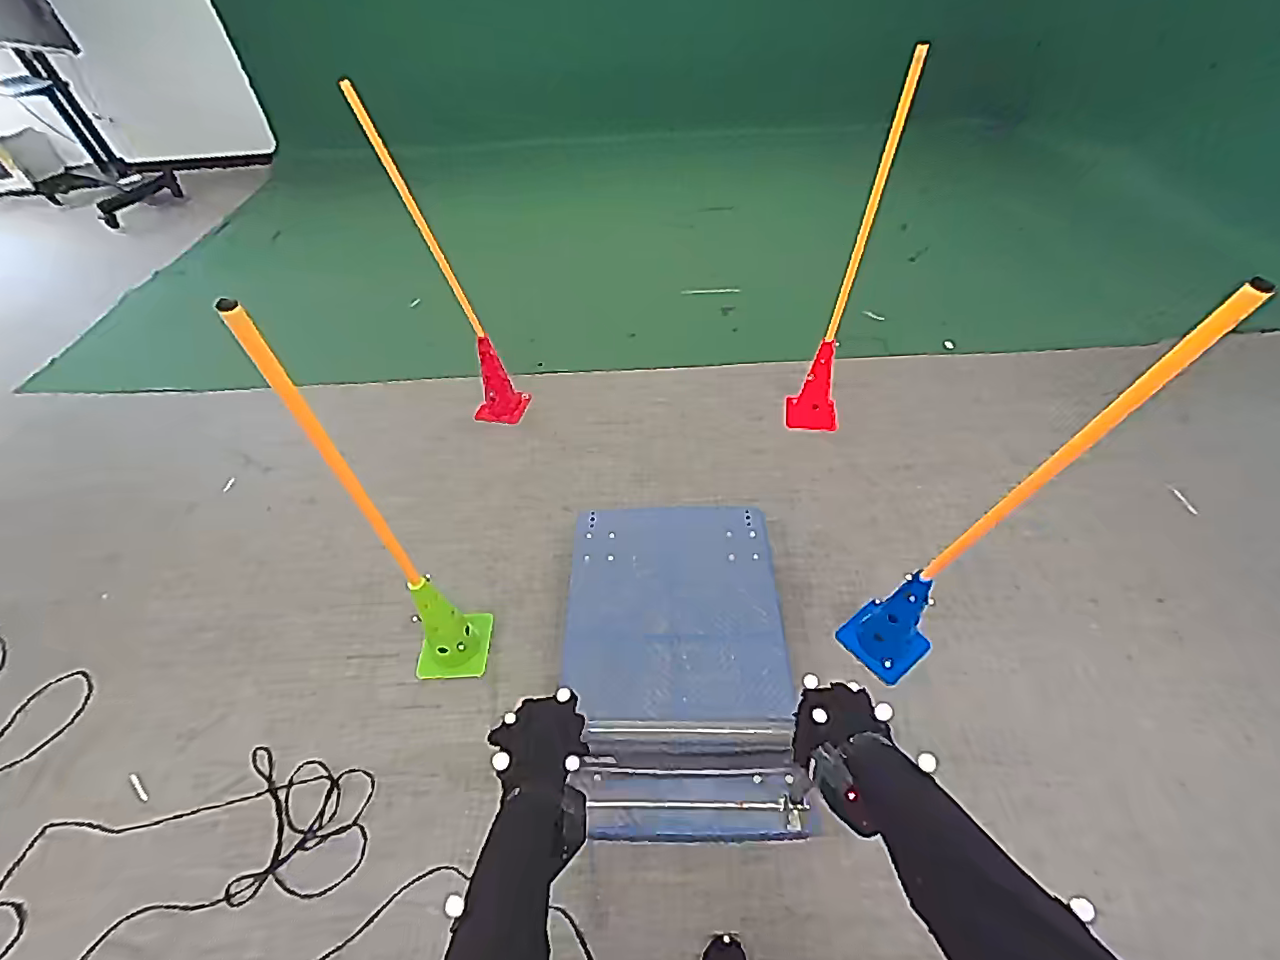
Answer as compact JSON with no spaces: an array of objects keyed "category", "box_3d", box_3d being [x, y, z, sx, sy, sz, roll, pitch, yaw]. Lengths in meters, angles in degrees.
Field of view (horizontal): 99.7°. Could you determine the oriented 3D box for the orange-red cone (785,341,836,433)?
[{"category":"orange-red cone","box_3d":[0.688,-0.376,2.087,0.198,0.360,0.199,6,49,9]}]
